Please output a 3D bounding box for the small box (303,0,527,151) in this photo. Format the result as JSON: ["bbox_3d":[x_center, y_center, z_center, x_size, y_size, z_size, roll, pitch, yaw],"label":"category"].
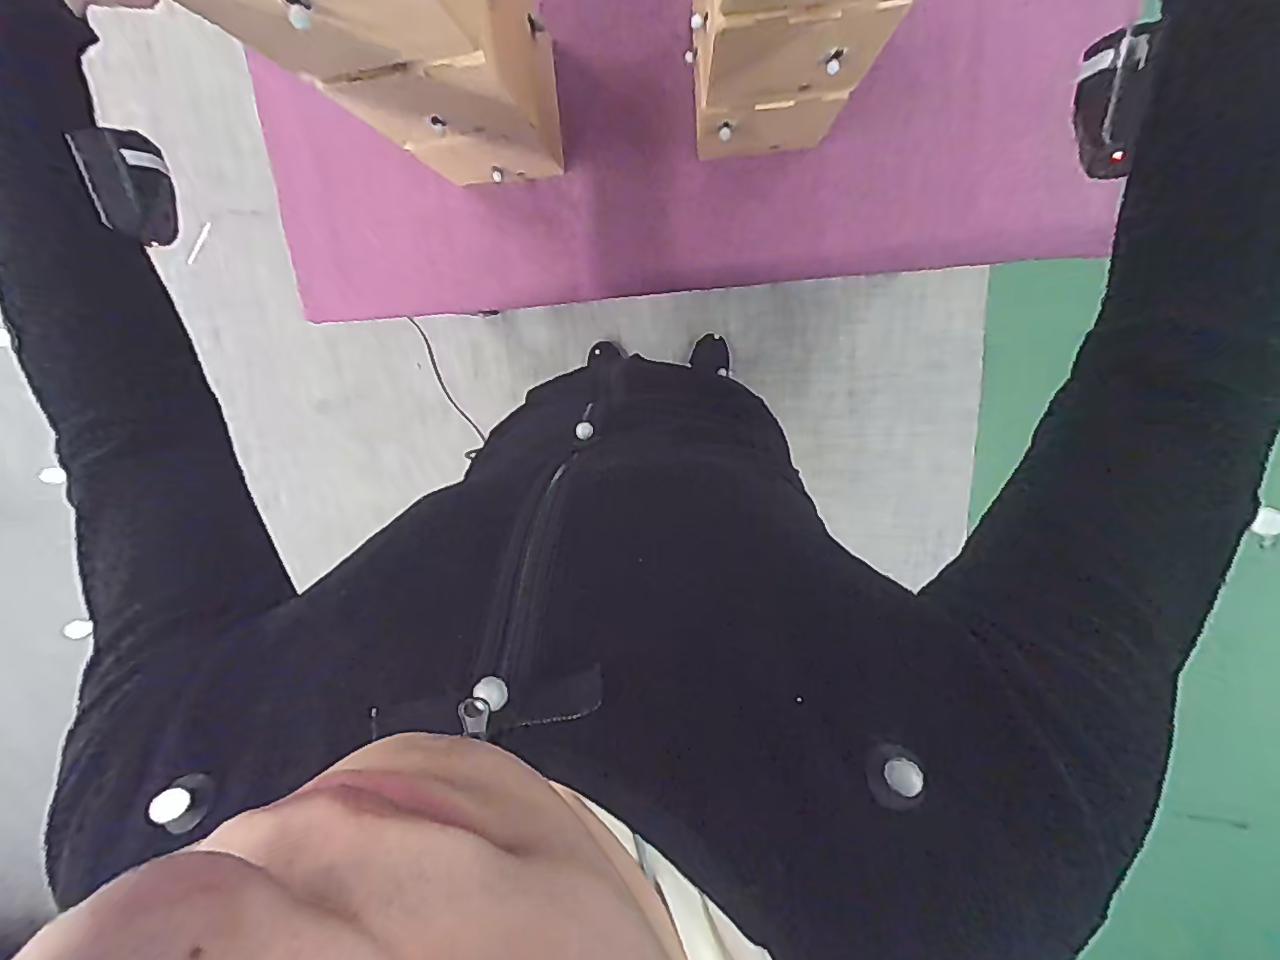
[{"bbox_3d":[-0.221,-0.457,0.535,0.168,0.176,0.179,-4,105,5],"label":"small box"}]

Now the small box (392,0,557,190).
[{"bbox_3d":[-0.210,-0.495,0.692,0.168,0.176,0.179,-3,104,5],"label":"small box"}]

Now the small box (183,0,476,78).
[{"bbox_3d":[-0.240,-0.416,0.375,0.179,0.176,0.168,-4,105,8],"label":"small box"}]

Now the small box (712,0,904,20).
[{"bbox_3d":[0.141,-0.438,0.343,0.179,0.176,0.168,-3,103,2],"label":"small box"}]

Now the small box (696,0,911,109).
[{"bbox_3d":[0.139,-0.476,0.505,0.168,0.176,0.179,-4,103,4],"label":"small box"}]
